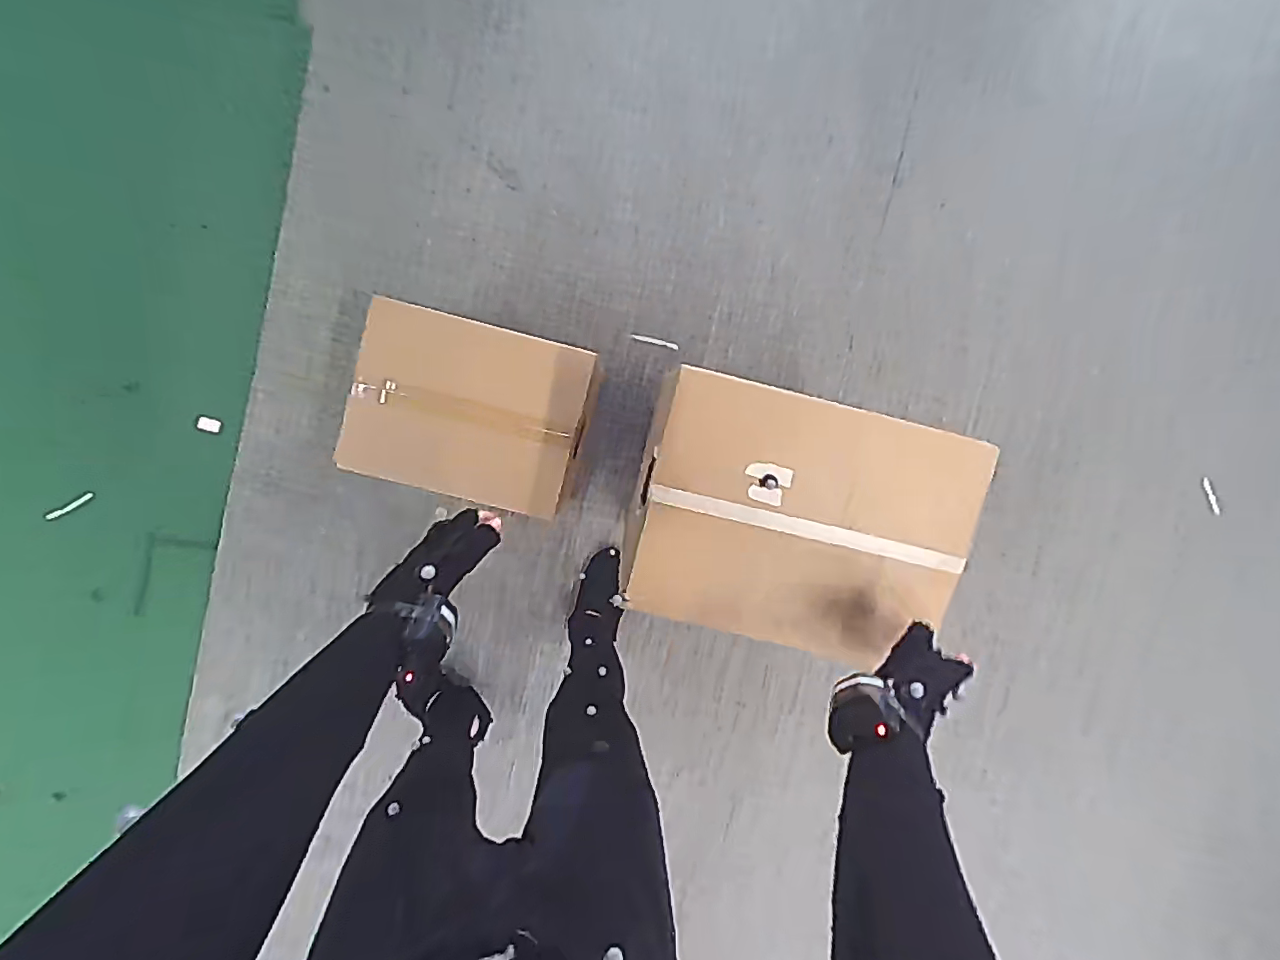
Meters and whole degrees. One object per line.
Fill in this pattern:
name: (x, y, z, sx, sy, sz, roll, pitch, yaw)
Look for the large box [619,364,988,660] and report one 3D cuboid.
large box: (0.203, 0.024, 0.824, 0.408, 0.320, 0.320, 14, 99, -2)
